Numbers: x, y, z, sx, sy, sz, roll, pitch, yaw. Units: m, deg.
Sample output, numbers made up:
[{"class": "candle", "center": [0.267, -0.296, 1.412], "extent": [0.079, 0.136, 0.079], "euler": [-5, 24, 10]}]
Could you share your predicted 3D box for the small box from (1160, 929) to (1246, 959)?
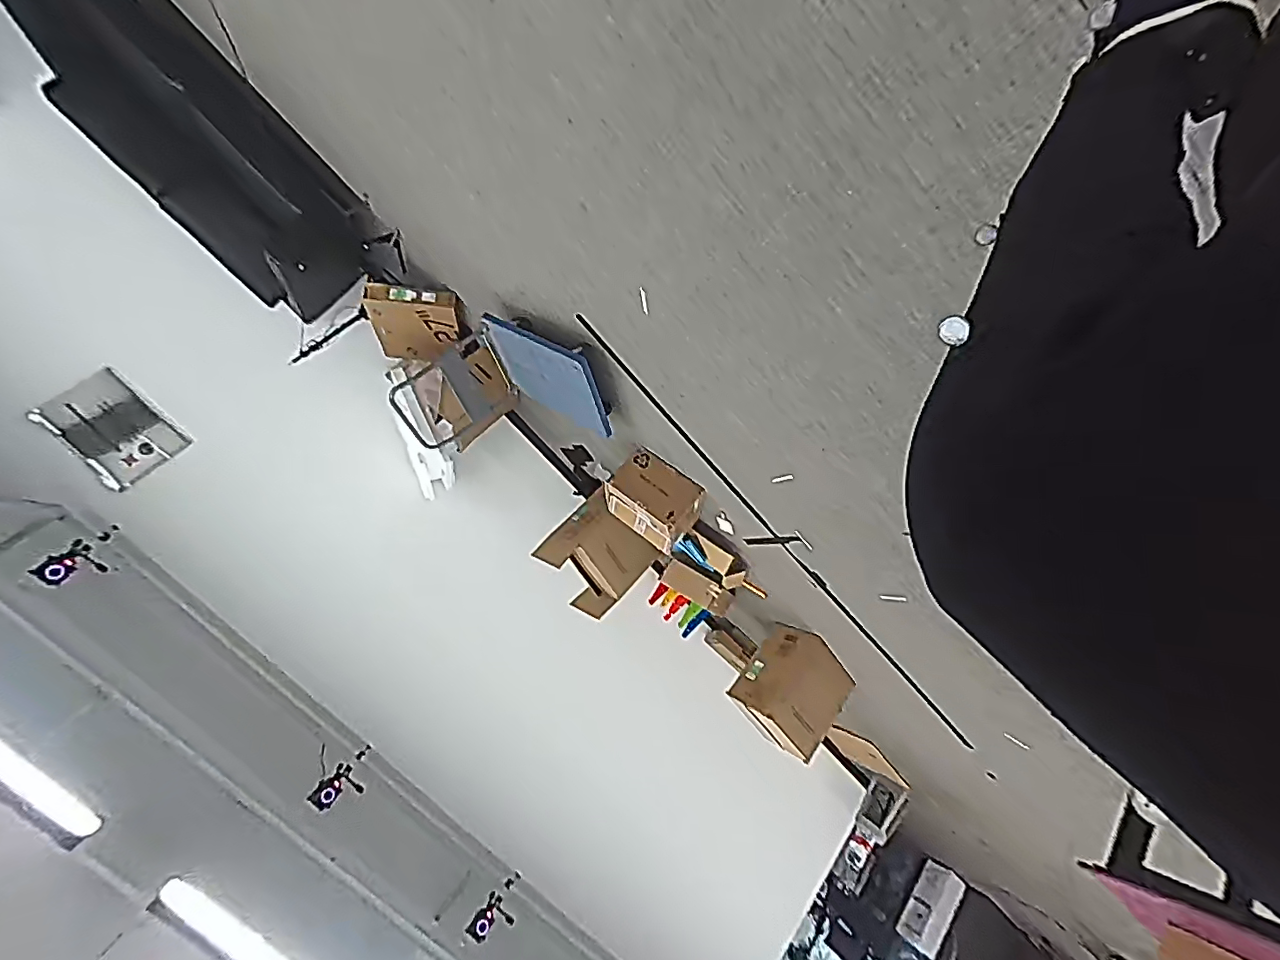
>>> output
[{"class": "small box", "center": [1.391, 1.233, 1.291], "extent": [0.168, 0.176, 0.179], "euler": [46, 159, -11]}]
